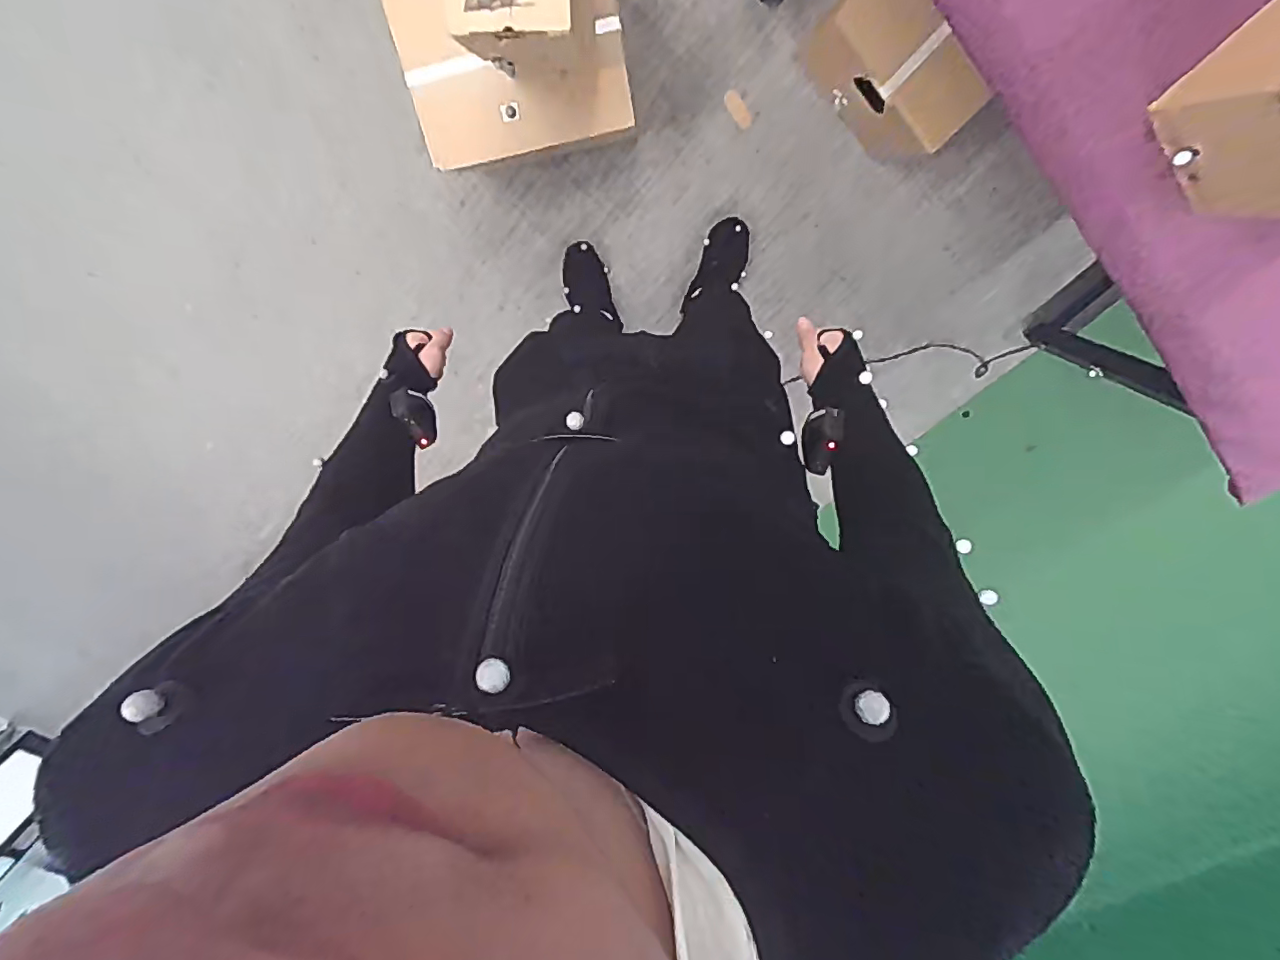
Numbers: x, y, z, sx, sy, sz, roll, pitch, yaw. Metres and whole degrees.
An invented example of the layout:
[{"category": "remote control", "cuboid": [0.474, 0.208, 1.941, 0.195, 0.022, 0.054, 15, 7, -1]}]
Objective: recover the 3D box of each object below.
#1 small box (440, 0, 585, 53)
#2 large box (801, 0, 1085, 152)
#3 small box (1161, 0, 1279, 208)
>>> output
[{"category": "small box", "cuboid": [-0.167, -0.691, 0.719, 0.168, 0.176, 0.179, 1, 118, 2]}, {"category": "large box", "cuboid": [0.588, -0.921, 1.035, 0.320, 0.320, 0.408, 39, 113, -19]}, {"category": "small box", "cuboid": [0.721, -0.411, 0.560, 0.168, 0.176, 0.179, 41, 112, -19]}]
